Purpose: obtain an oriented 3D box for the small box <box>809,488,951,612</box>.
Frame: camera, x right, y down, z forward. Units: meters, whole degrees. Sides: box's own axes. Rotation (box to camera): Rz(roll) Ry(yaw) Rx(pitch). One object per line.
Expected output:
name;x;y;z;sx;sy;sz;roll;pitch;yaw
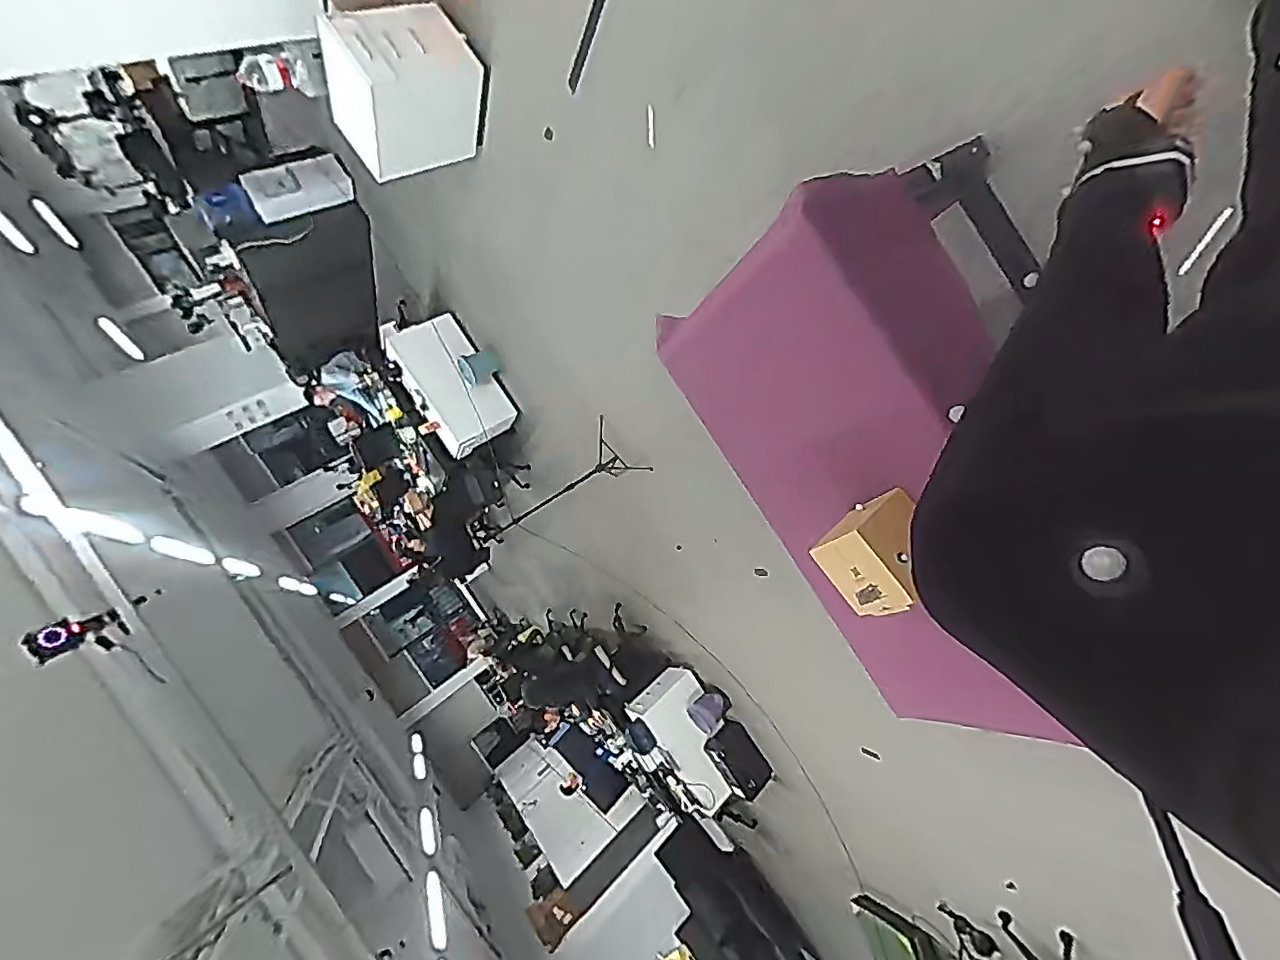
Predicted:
small box;0.501;0.147;1.131;0.179;0.176;0.168;52;153;8
